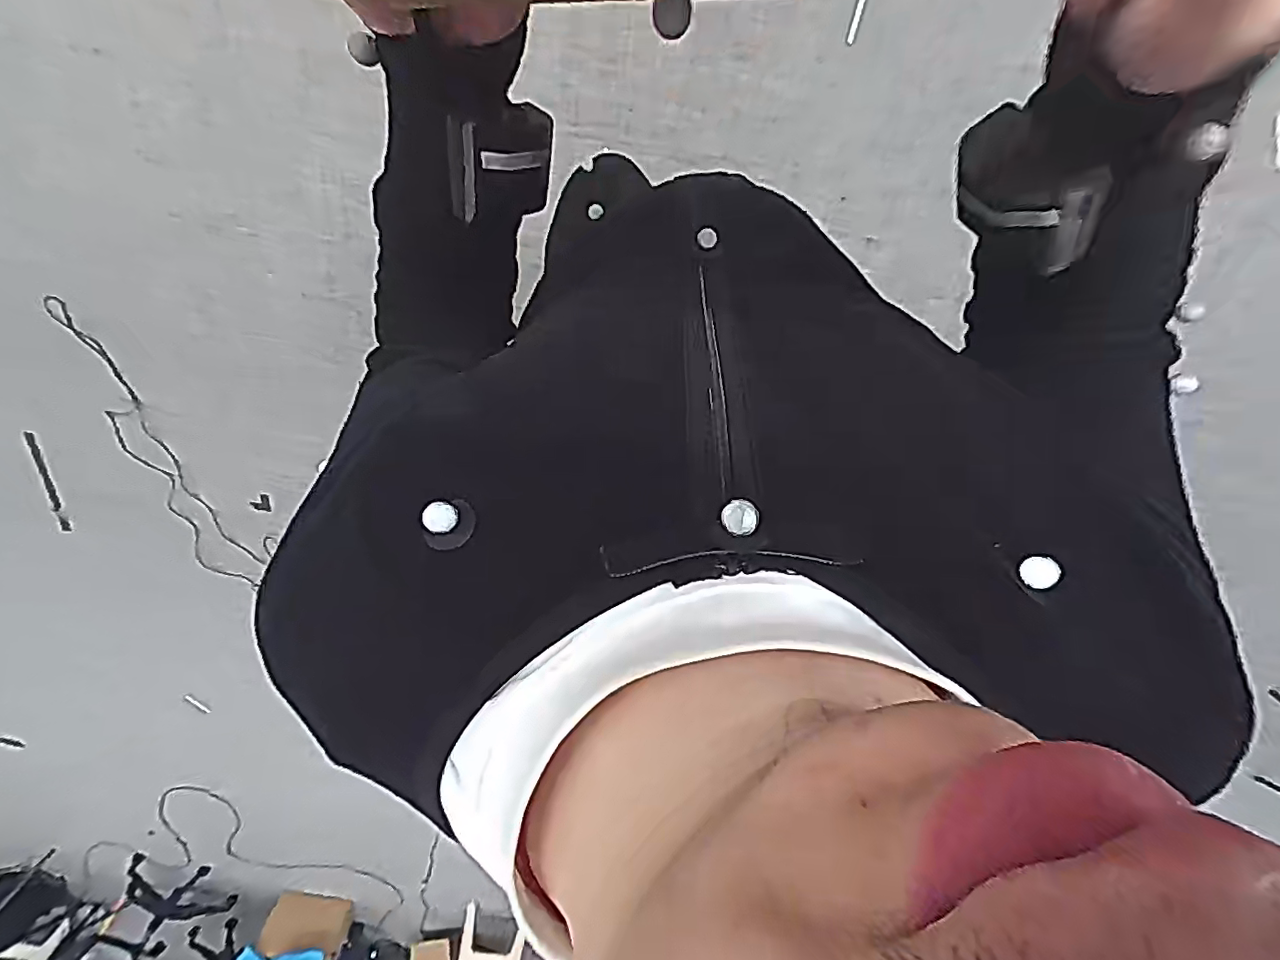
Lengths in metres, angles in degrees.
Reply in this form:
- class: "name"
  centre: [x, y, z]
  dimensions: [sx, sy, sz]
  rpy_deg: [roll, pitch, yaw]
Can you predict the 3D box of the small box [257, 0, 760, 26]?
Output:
- class: "small box"
  centre: [-0.034, -0.223, 0.128]
  dimensions: [0.179, 0.176, 0.168]
  rpy_deg: [3, 126, 7]
